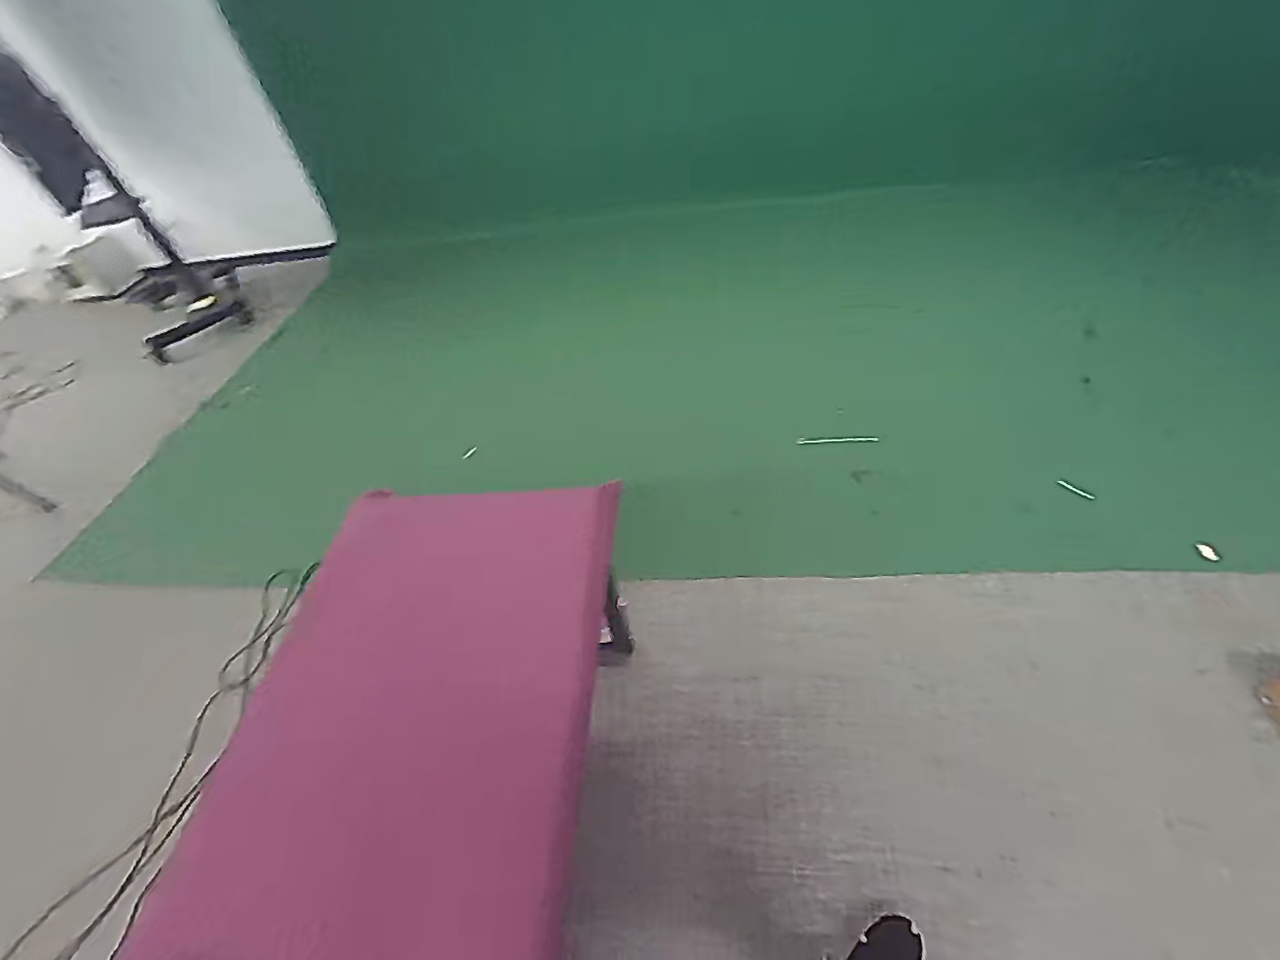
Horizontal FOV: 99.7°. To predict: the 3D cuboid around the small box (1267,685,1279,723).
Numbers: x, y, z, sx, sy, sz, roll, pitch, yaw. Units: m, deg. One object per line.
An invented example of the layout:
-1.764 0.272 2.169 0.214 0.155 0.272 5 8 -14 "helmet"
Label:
1.671 0.565 1.280 0.179 0.176 0.168 -1 47 8 "small box"
